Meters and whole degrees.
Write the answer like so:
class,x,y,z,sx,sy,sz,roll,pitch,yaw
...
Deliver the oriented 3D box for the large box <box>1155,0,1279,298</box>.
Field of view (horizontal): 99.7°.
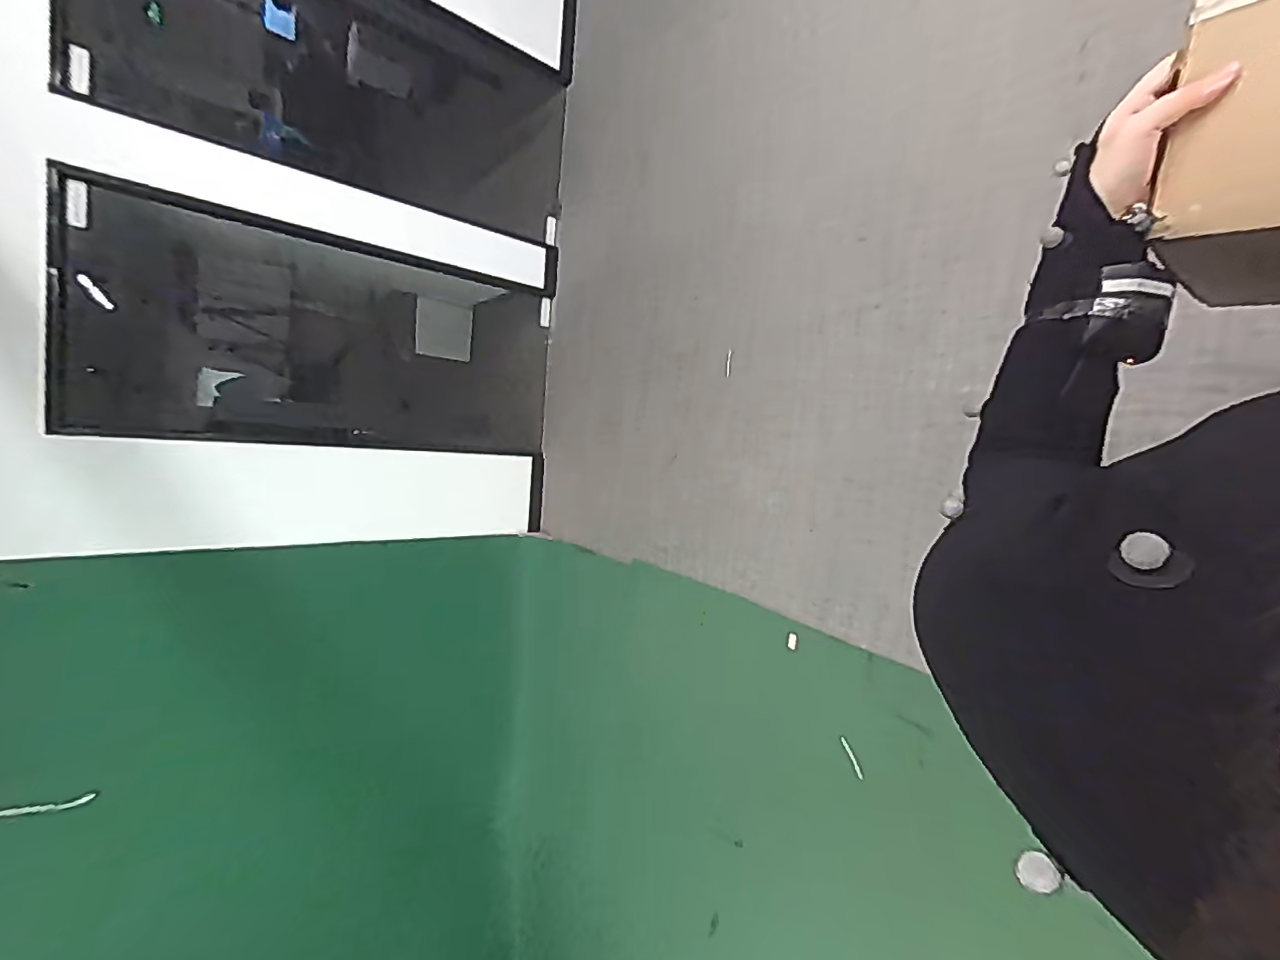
class,x,y,z,sx,sy,sz,roll,pitch,yaw
large box,0.649,-0.308,0.329,0.408,0.320,0.320,17,104,52
